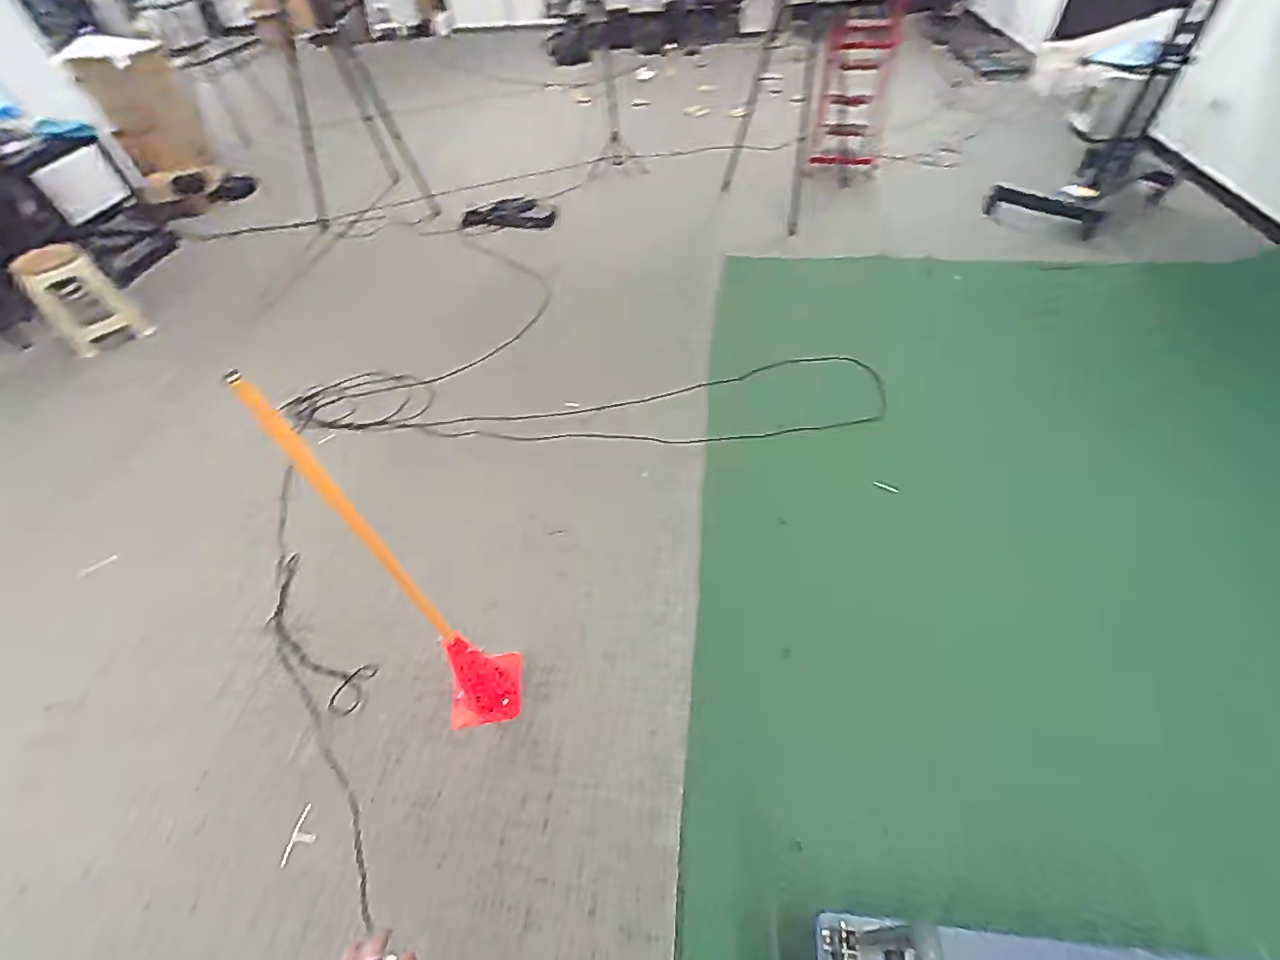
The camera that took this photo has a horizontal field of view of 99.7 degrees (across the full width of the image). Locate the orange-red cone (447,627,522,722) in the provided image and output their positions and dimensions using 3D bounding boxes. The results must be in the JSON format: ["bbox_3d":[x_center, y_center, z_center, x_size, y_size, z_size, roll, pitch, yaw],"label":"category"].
[{"bbox_3d":[-0.459,0.497,1.481,0.198,0.360,0.199,-7,48,-3],"label":"orange-red cone"}]
